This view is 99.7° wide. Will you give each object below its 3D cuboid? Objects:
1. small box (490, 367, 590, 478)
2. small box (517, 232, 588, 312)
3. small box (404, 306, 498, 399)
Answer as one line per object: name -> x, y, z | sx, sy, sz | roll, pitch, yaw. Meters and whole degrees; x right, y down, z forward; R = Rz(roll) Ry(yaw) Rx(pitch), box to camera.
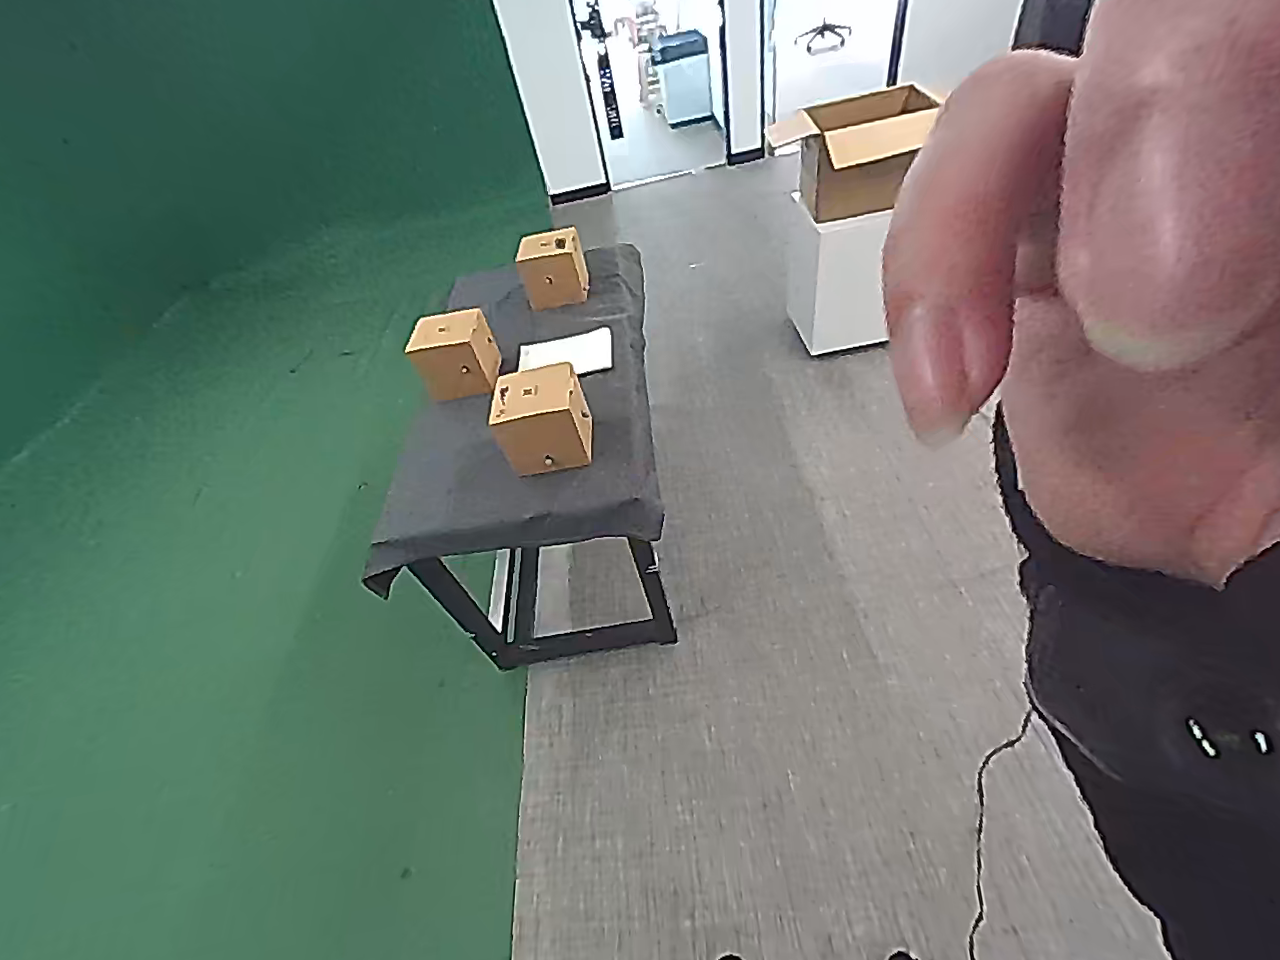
small box -> -0.214, -0.125, 1.214 | 0.179, 0.176, 0.168 | -9, 46, 5
small box -> -0.268, -0.652, 1.704 | 0.179, 0.176, 0.168 | -7, 47, 7
small box -> -0.497, -0.340, 1.454 | 0.179, 0.176, 0.168 | -9, 46, 5
